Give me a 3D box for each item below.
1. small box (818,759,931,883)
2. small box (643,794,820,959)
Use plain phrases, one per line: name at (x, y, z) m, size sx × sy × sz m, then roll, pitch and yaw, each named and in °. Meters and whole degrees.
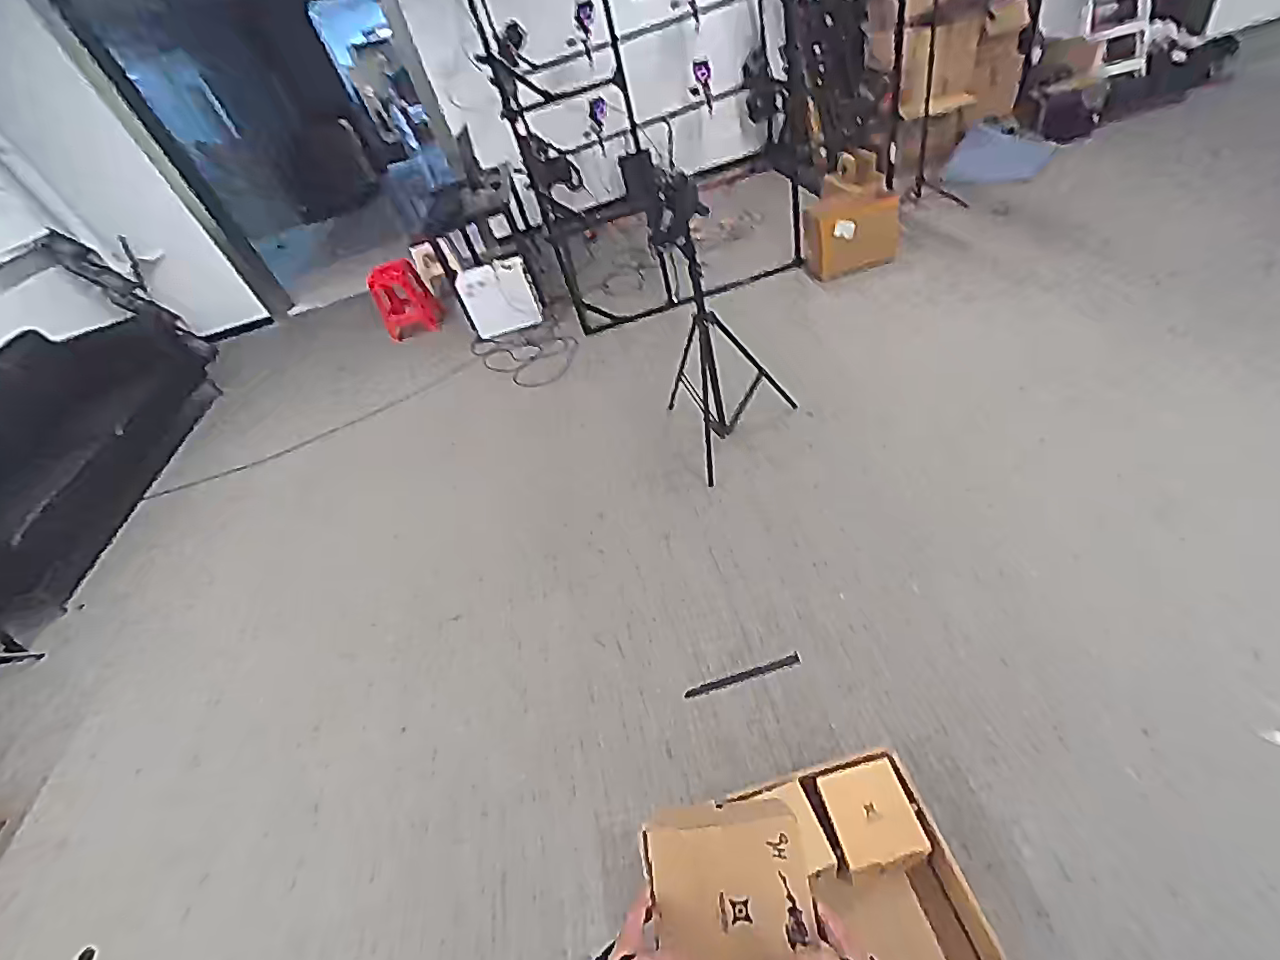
small box at (0.503, 0.749, 1.186) m, size 0.168 × 0.176 × 0.179 m, roll -19°, pitch 44°, yaw 3°
small box at (0.108, 0.493, 0.660) m, size 0.179 × 0.176 × 0.168 m, roll -9°, pitch 65°, yaw 5°
